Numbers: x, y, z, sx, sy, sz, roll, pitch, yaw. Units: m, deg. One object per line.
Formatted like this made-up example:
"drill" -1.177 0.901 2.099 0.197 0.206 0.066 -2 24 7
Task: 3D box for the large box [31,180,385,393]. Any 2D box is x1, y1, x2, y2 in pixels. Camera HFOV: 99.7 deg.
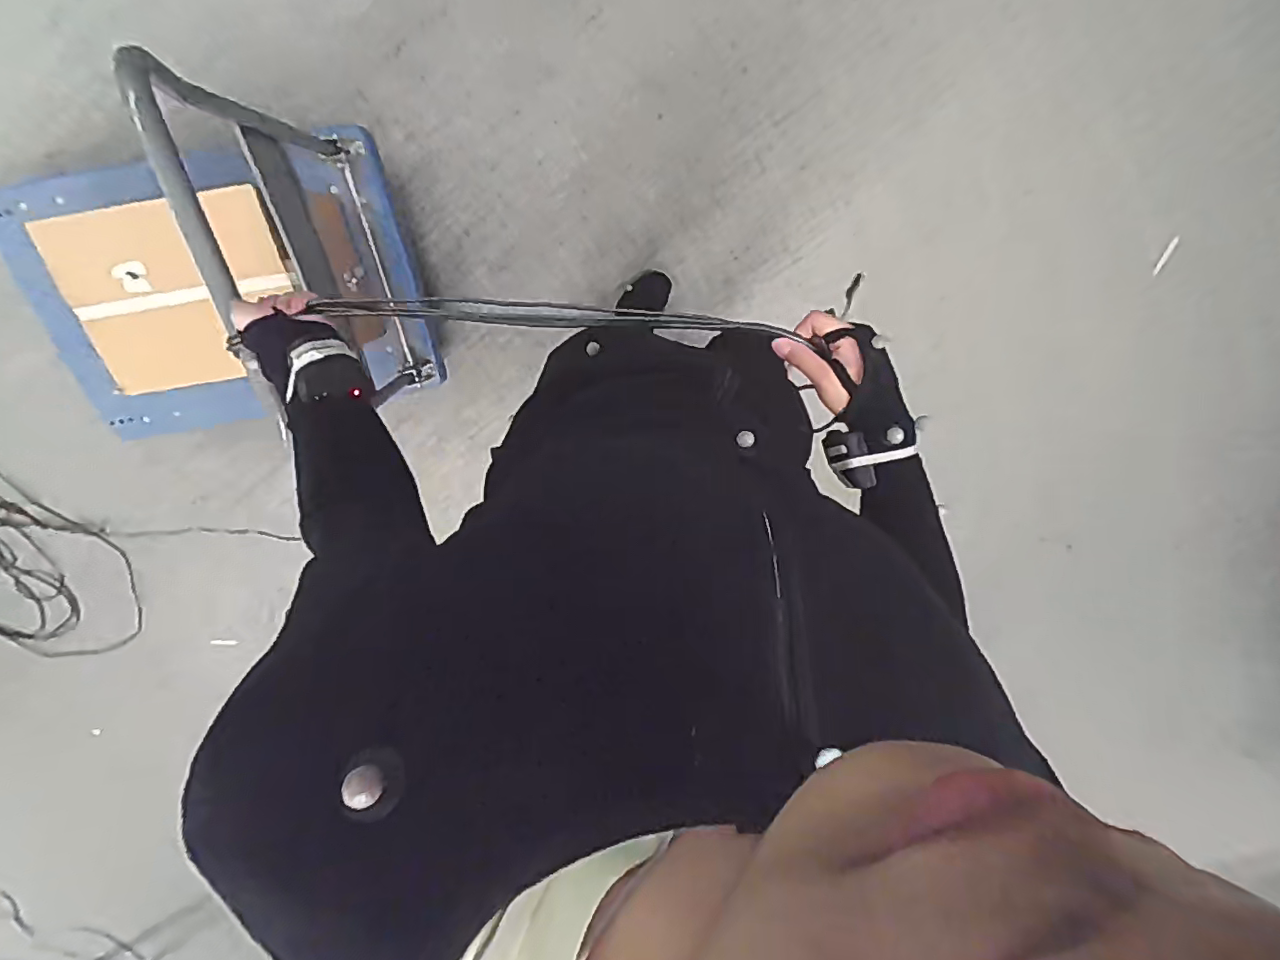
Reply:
"large box" -0.818 -0.399 1.103 0.408 0.320 0.320 -8 115 2
